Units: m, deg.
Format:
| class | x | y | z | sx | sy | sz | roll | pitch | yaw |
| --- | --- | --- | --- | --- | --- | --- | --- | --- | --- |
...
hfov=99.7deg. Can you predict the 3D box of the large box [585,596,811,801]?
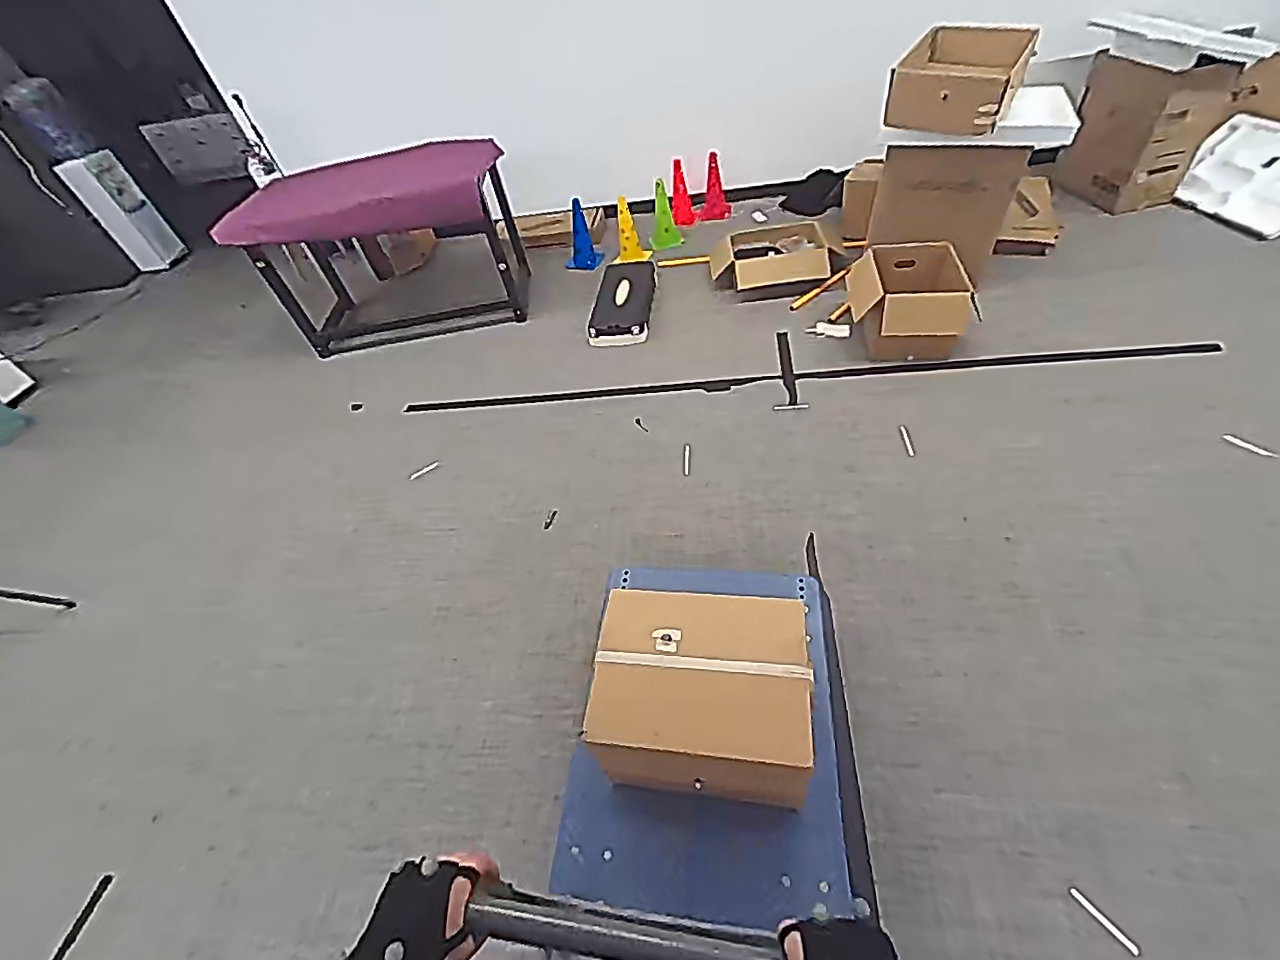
| class | x | y | z | sx | sy | sz | roll | pitch | yaw |
| --- | --- | --- | --- | --- | --- | --- | --- | --- | --- |
| large box | 0.136 | 0.463 | 1.150 | 0.408 | 0.320 | 0.320 | -1 | 47 | 12 |
